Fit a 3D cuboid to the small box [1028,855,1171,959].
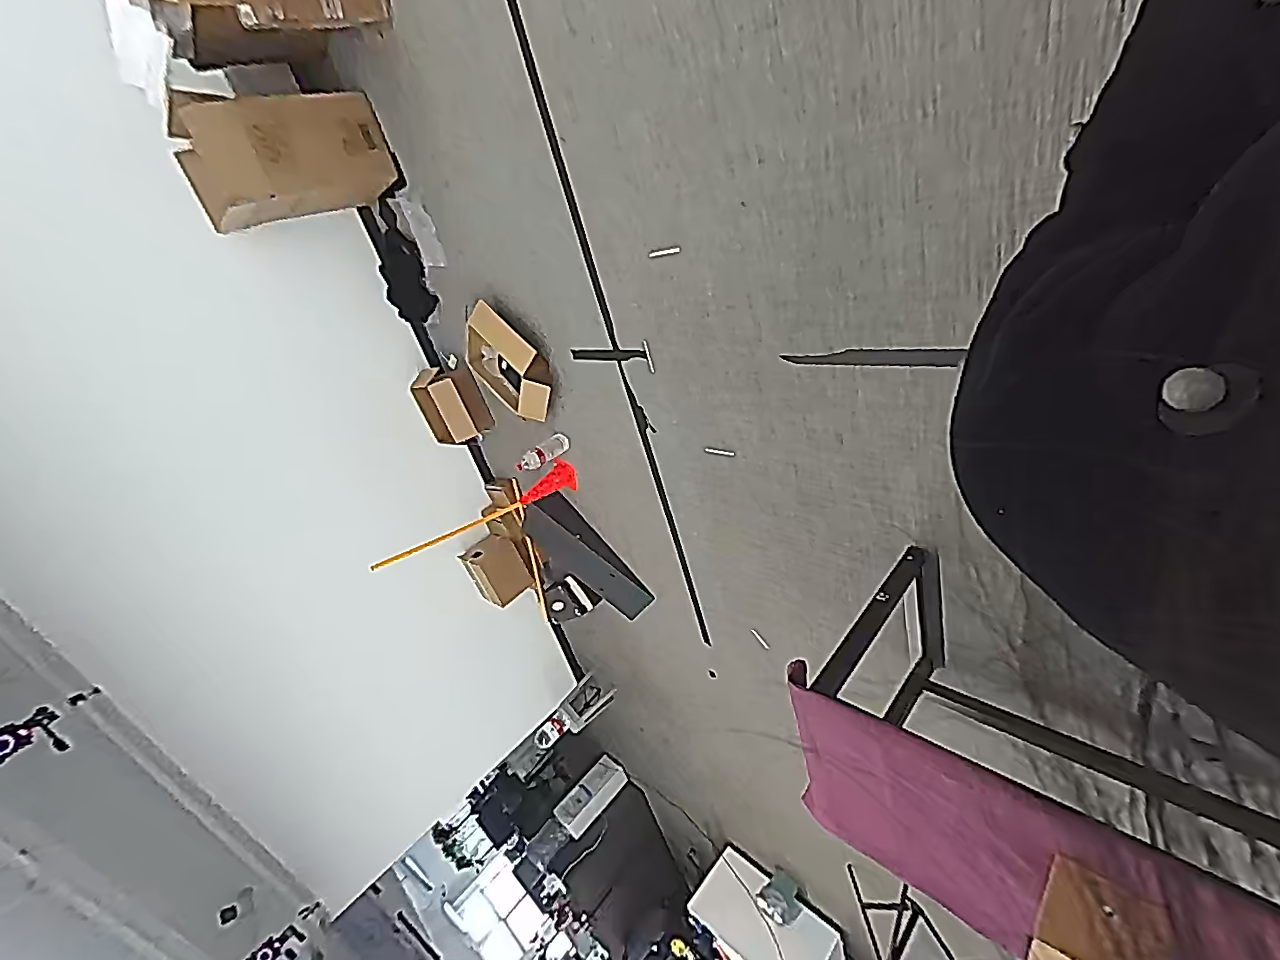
[{"bbox_3d":[0.838,0.849,0.991,0.168,0.176,0.179,15,132,43],"label":"small box"}]
